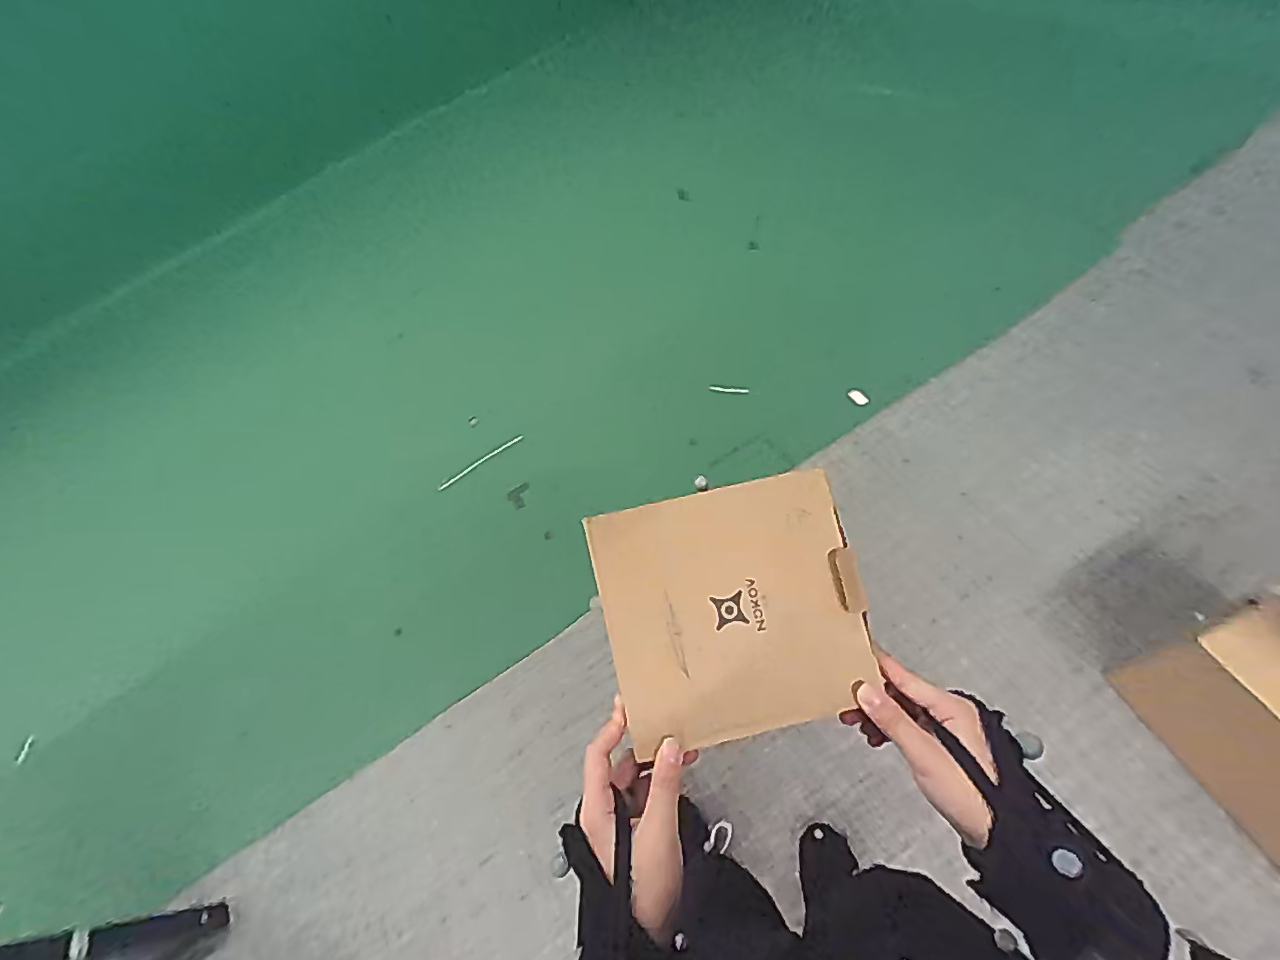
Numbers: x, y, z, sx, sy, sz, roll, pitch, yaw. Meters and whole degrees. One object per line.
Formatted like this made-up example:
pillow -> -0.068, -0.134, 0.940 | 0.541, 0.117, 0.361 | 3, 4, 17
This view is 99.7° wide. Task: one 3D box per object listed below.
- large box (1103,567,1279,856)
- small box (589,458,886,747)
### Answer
large box -> 1.097, 0.376, 0.856 | 0.320, 0.320, 0.408 | -29, 58, 0
small box -> 0.064, 0.088, 0.446 | 0.179, 0.176, 0.168 | -13, 83, -1
